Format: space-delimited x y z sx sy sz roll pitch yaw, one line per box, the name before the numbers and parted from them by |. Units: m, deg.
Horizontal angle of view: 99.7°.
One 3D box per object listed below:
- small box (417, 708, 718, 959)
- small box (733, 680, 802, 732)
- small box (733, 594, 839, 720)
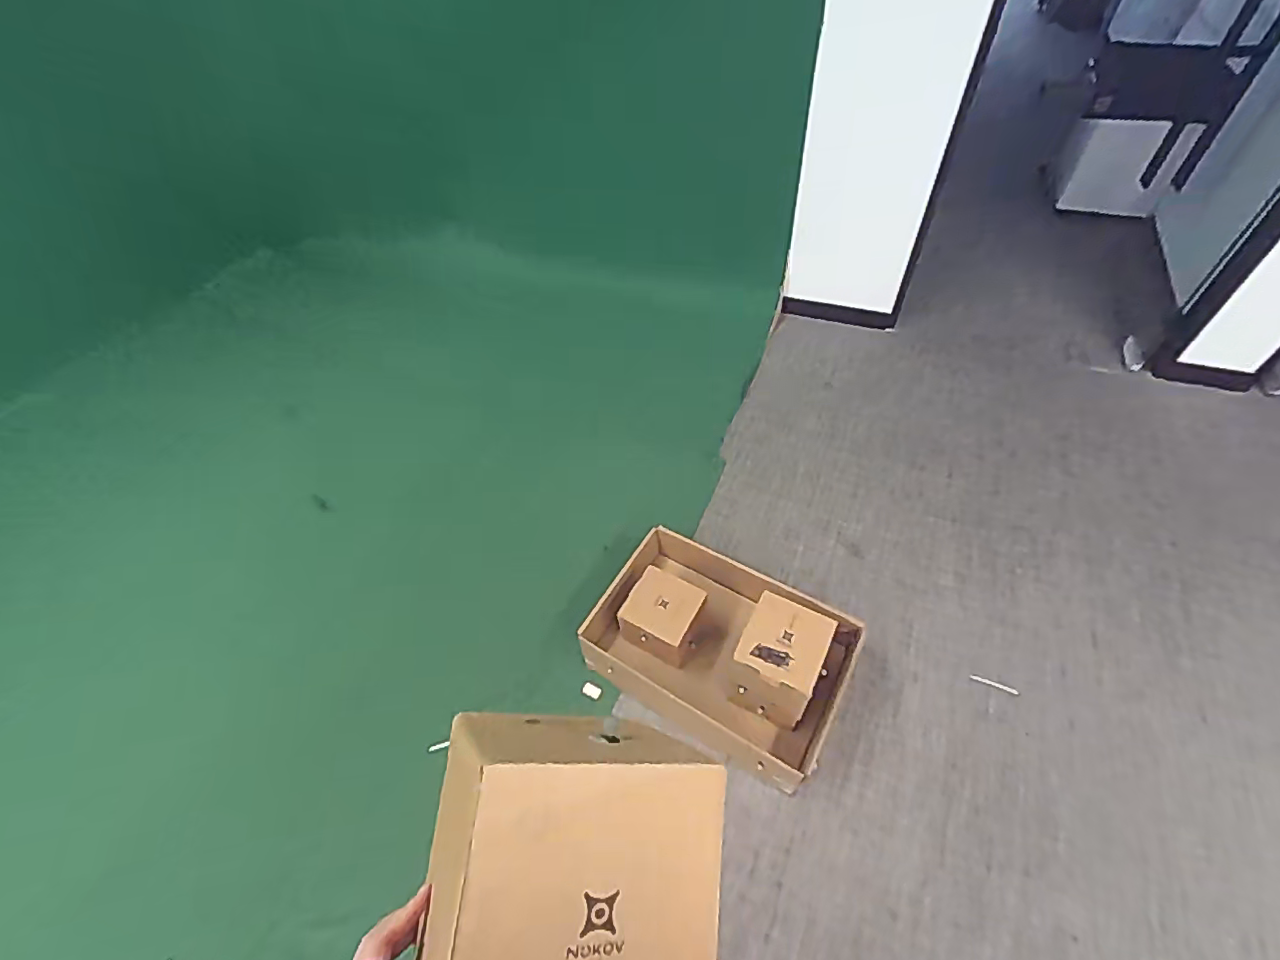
small box | -0.061 0.275 0.396 0.168 0.176 0.179 12 75 -20
small box | 0.333 0.479 1.307 0.168 0.176 0.179 20 57 21
small box | 0.312 0.387 1.172 0.168 0.176 0.179 21 56 23
